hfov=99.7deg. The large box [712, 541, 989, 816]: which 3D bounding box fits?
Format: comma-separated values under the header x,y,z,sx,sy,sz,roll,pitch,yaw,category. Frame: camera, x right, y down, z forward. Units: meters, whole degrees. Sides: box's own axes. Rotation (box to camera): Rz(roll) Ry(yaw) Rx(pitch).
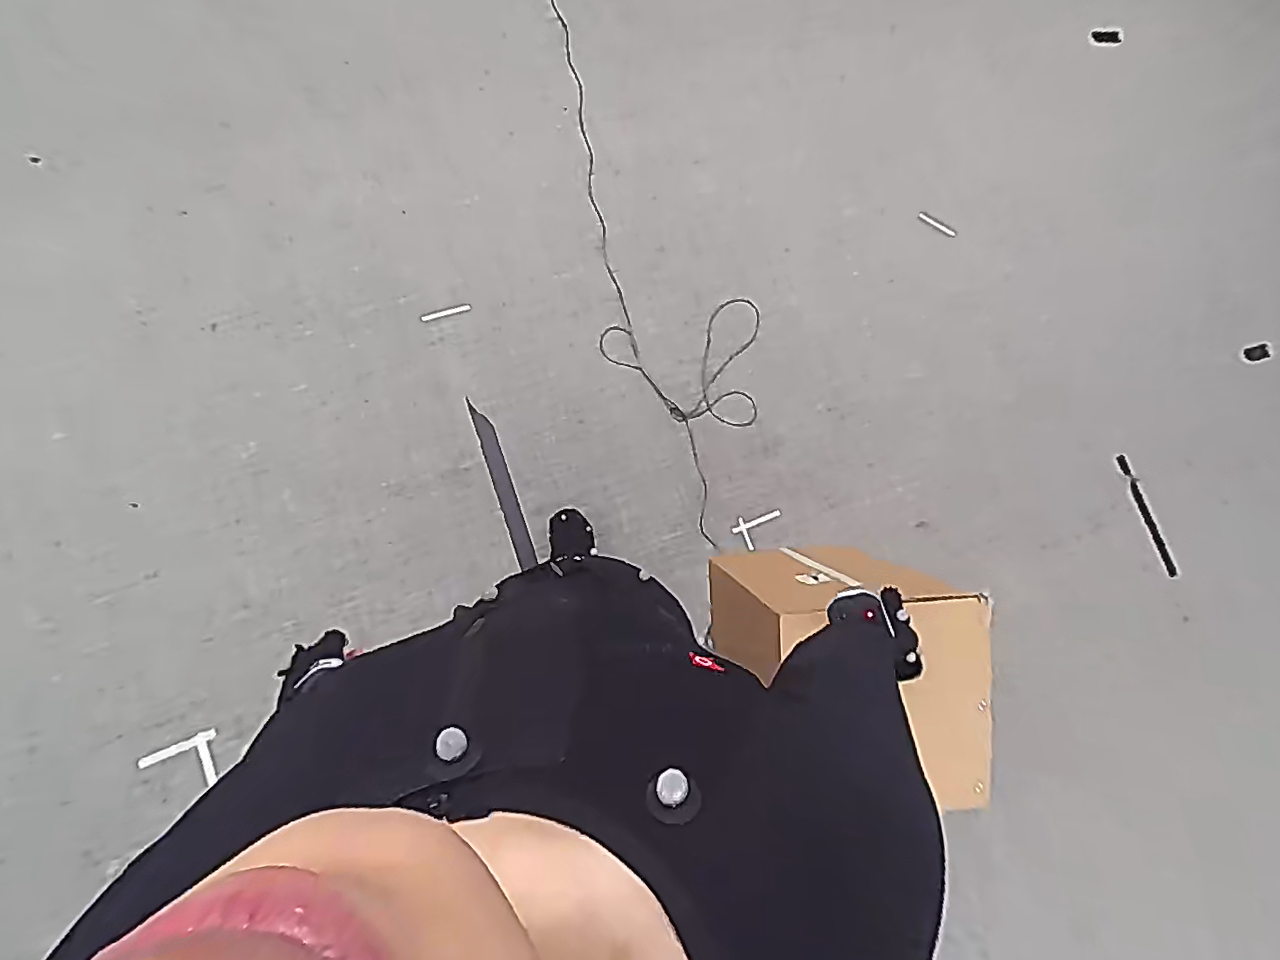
x,y,z,sx,sy,sz,roll,pitch,yaw,category
0.331,0.305,0.965,0.320,0.408,0.320,-4,95,-7,large box
